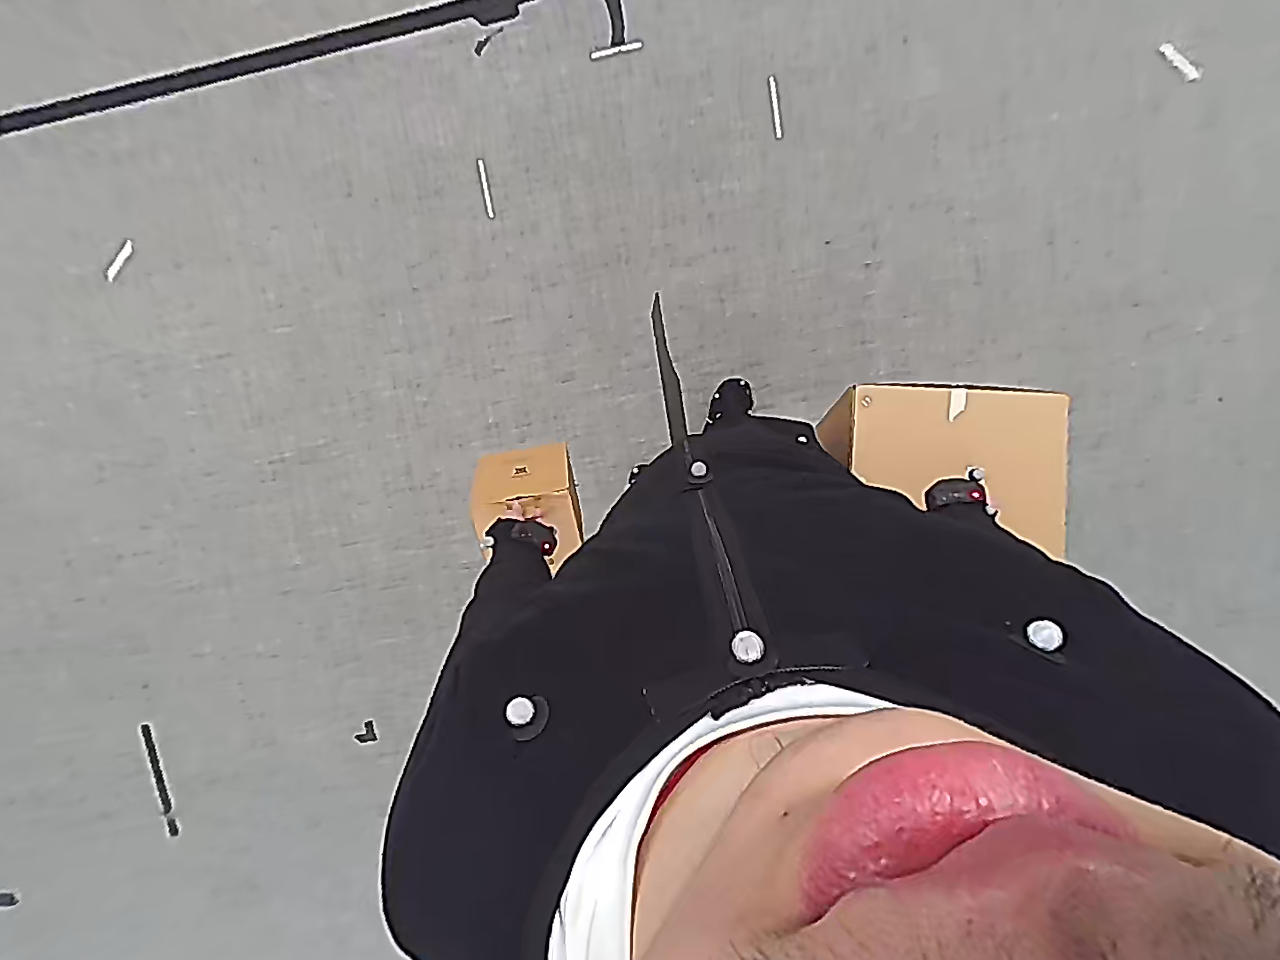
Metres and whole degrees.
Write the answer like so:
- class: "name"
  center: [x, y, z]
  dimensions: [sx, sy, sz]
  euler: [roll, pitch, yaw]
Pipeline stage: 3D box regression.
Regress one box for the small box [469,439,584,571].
- class: "small box"
  center: [-0.200, 0.050, 0.992]
  dimensions: [0.168, 0.179, 0.176]
  euler: [-10, 123, -4]
